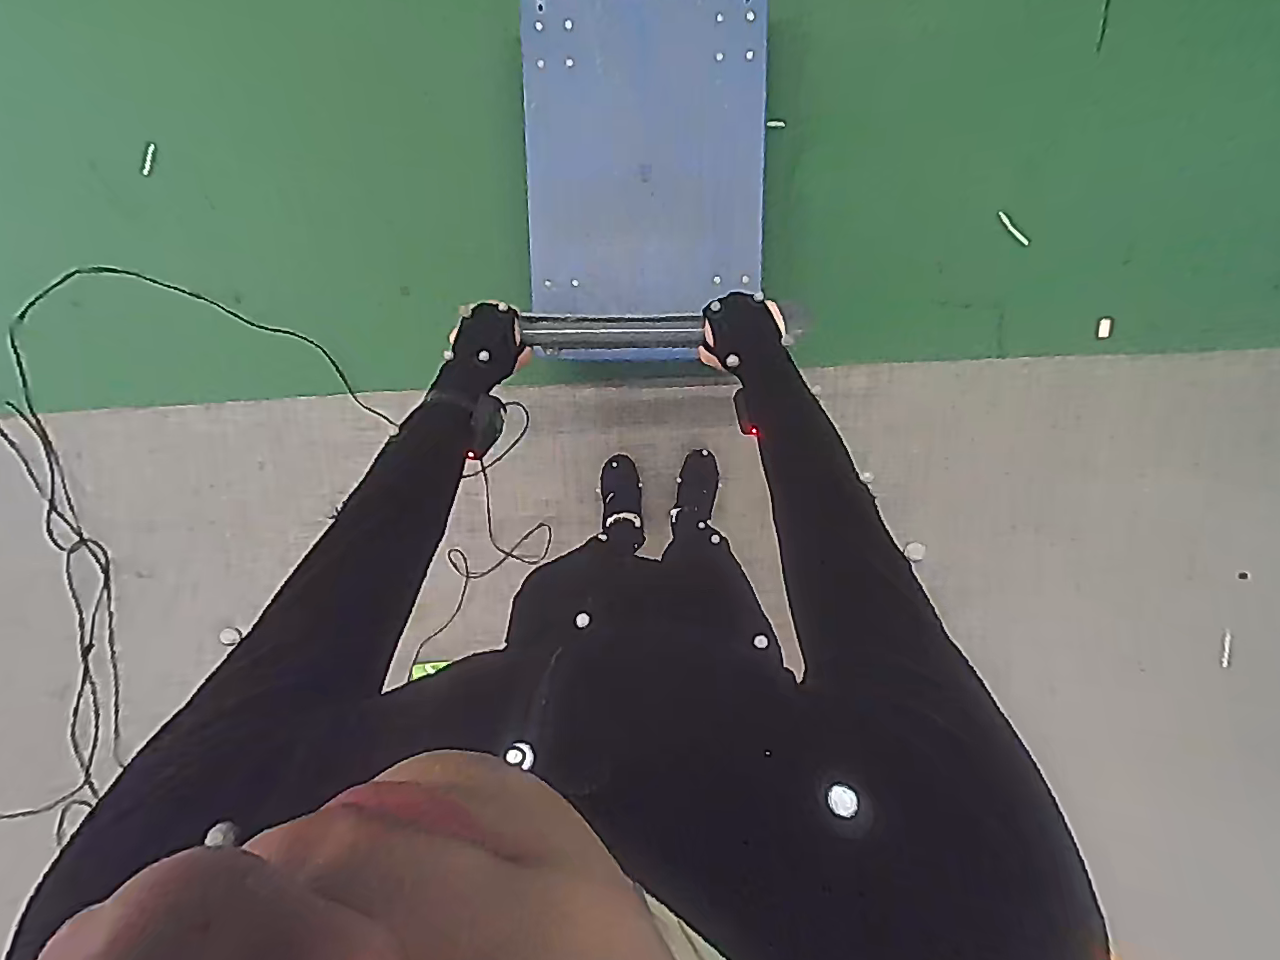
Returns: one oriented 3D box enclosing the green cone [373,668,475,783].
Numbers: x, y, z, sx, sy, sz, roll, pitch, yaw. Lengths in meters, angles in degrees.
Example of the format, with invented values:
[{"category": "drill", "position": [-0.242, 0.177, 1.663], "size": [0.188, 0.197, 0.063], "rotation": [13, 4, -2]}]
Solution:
[{"category": "green cone", "position": [-0.640, 0.718, 1.541], "size": [0.202, 0.368, 0.200], "rotation": [-6, 98, 5]}]
